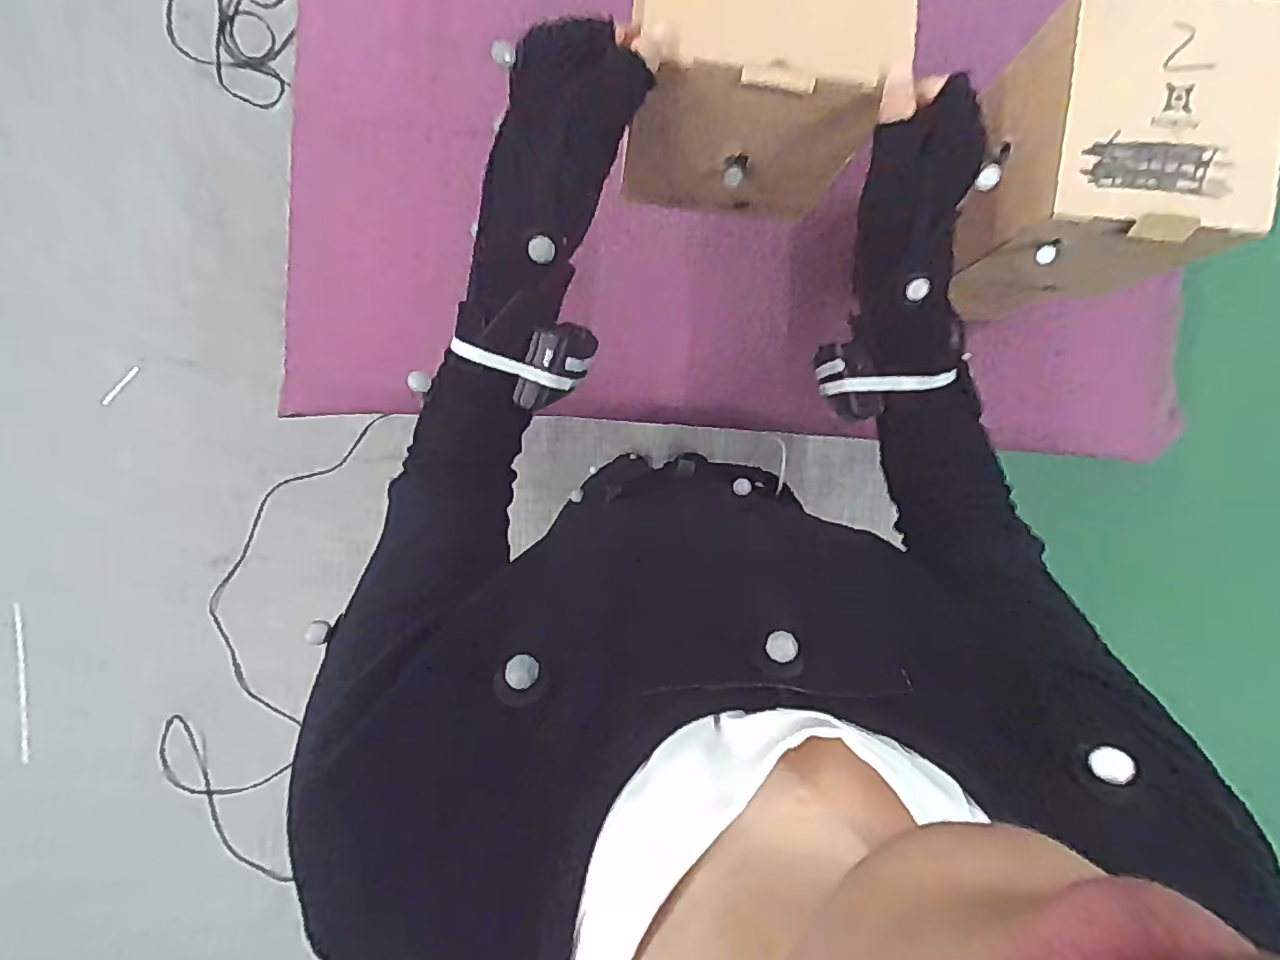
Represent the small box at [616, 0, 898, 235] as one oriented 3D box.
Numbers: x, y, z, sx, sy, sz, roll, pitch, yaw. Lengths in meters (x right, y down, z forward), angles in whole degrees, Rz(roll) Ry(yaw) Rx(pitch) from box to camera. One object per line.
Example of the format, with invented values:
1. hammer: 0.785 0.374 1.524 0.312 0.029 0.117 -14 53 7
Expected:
1. small box: 0.074 -0.314 0.416 0.168 0.176 0.179 5 90 -8
